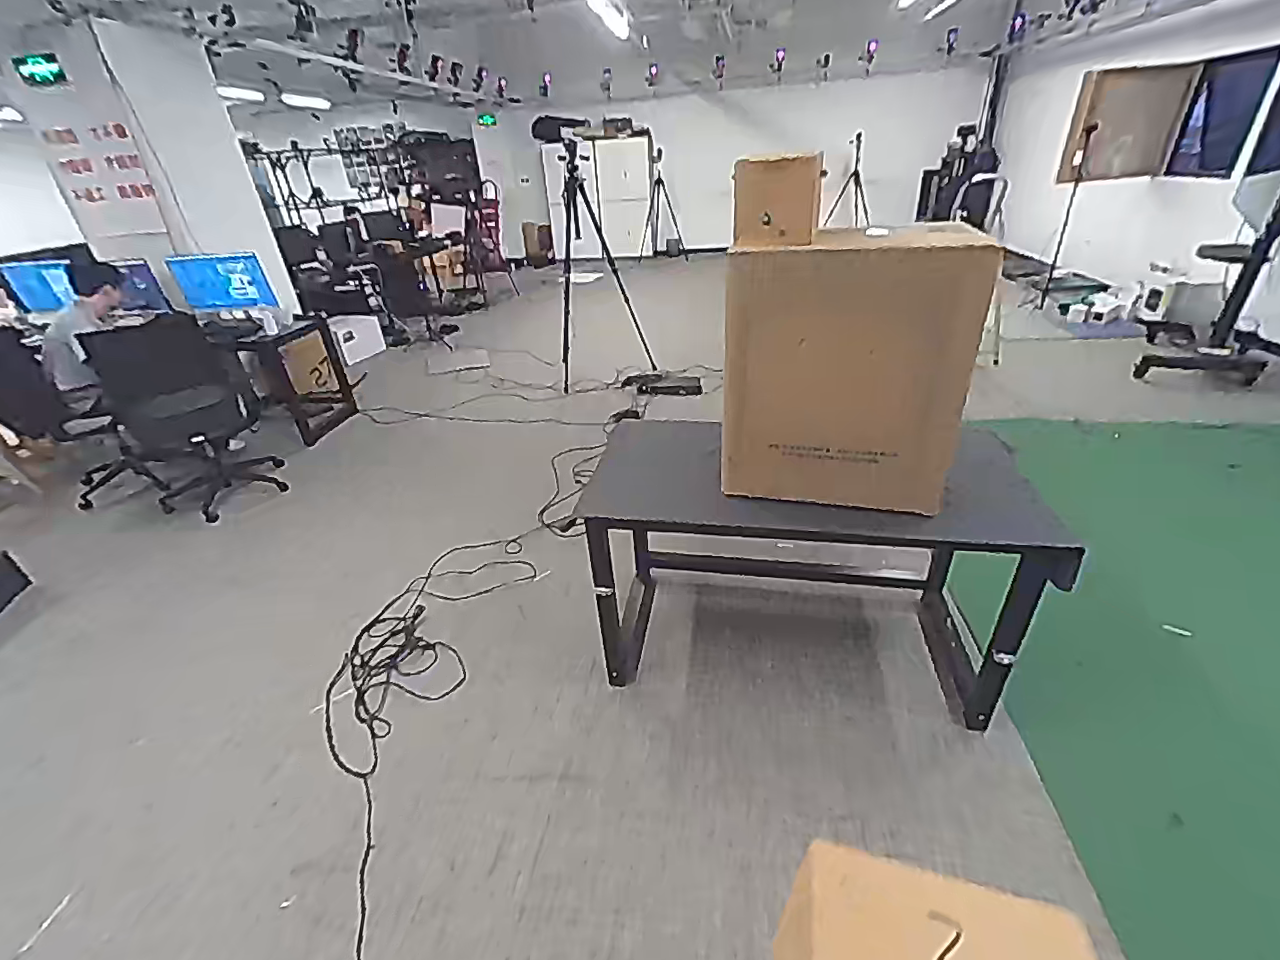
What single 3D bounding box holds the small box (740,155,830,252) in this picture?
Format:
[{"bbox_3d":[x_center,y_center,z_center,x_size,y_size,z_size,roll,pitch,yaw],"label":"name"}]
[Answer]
[{"bbox_3d":[0.315,-0.605,1.183,0.168,0.176,0.179,7,35,19],"label":"small box"}]
